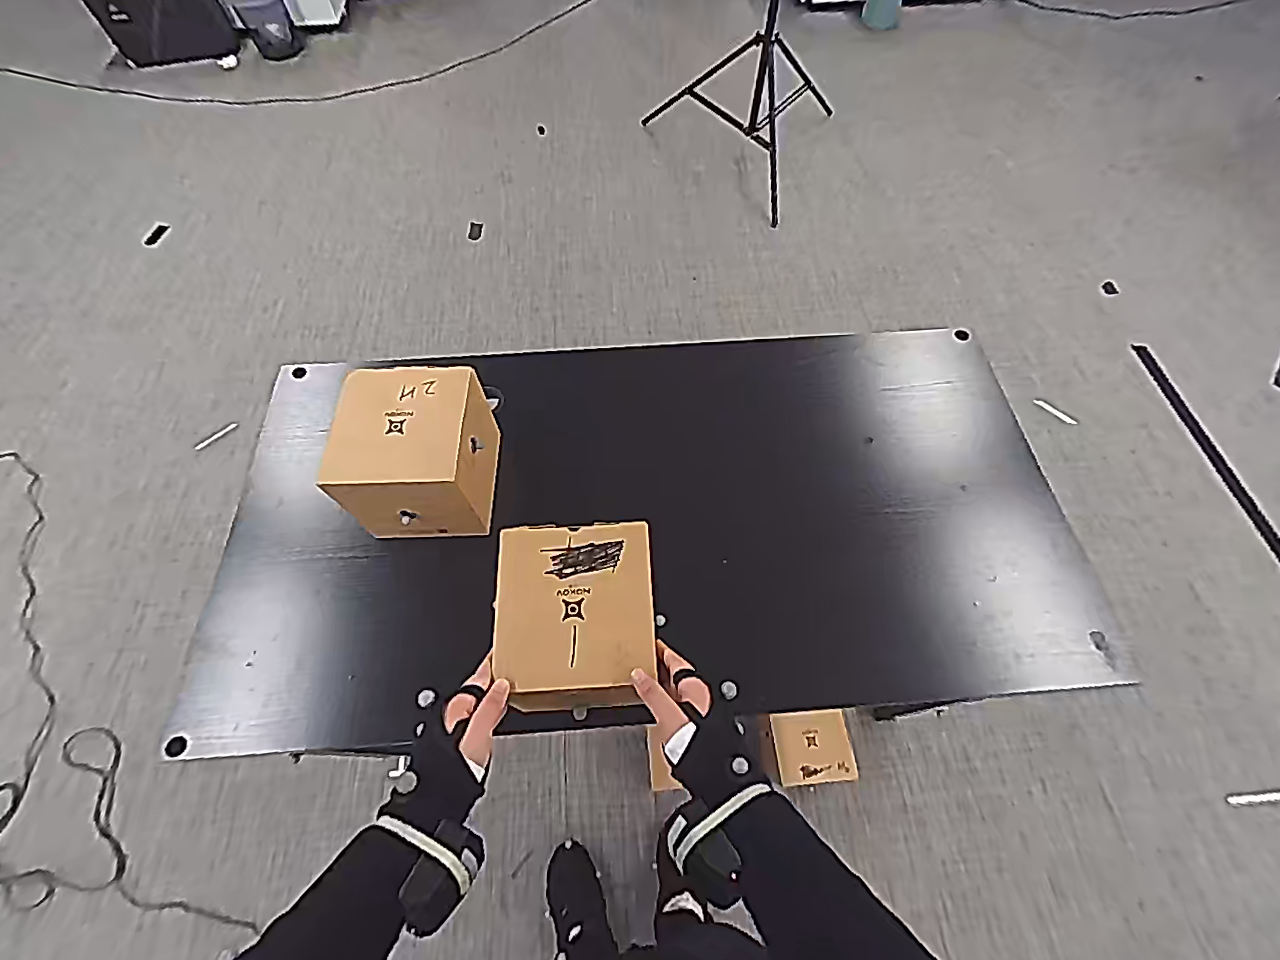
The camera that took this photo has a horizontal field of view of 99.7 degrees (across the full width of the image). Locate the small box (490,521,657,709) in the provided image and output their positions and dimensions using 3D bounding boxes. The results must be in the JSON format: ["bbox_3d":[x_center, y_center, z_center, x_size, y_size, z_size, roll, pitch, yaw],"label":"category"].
[{"bbox_3d":[-0.070,0.164,0.638,0.168,0.176,0.179,-3,62,-1],"label":"small box"}]

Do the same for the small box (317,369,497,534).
[{"bbox_3d":[-0.302,-0.031,0.747,0.168,0.176,0.179,-1,61,-1],"label":"small box"}]

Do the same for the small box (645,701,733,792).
[{"bbox_3d":[0.103,0.606,1.229,0.179,0.176,0.168,-5,61,-1],"label":"small box"}]

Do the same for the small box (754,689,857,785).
[{"bbox_3d":[0.366,0.589,1.233,0.168,0.176,0.179,-5,61,-2],"label":"small box"}]
